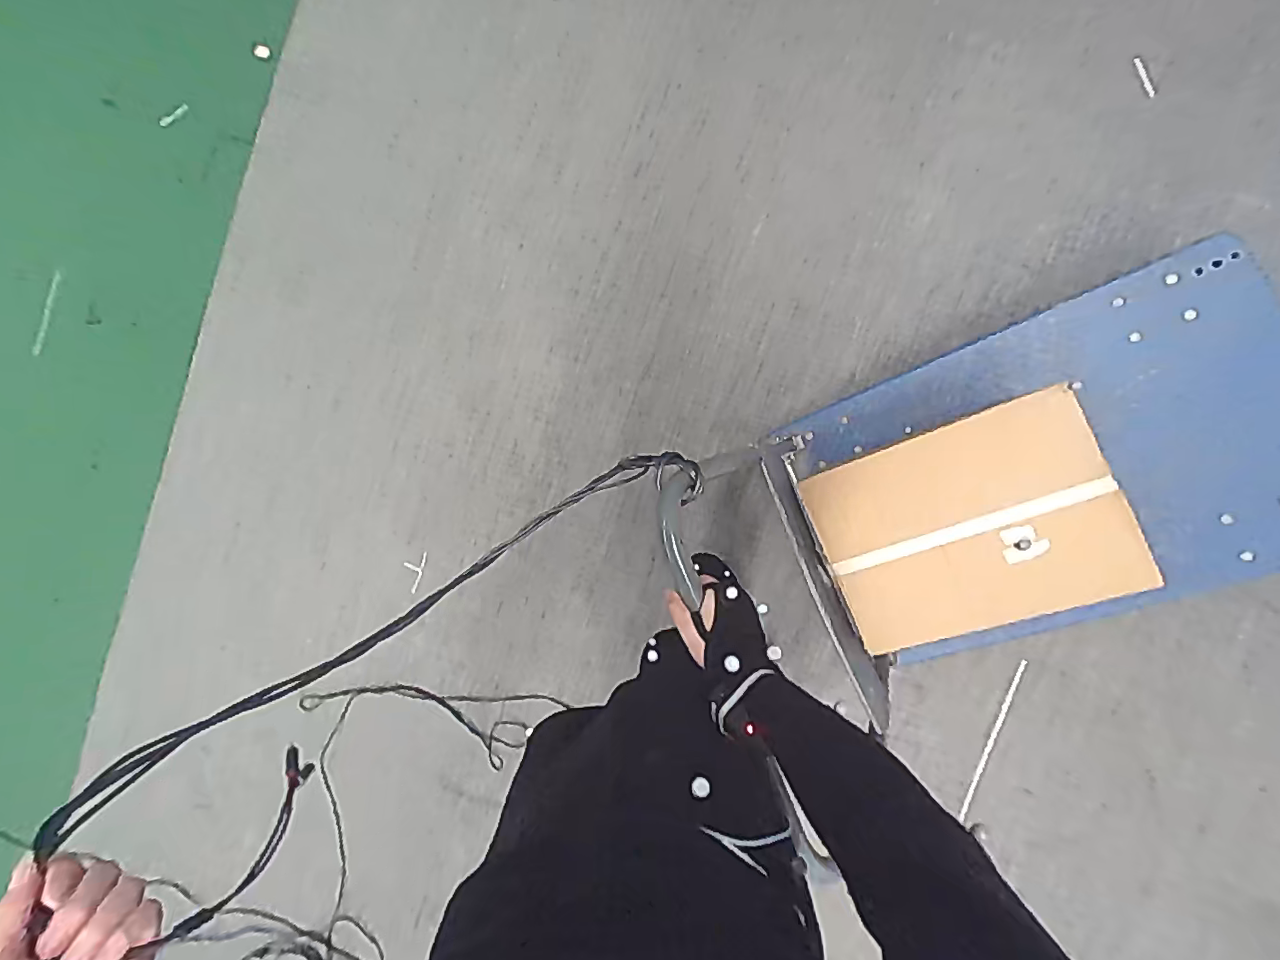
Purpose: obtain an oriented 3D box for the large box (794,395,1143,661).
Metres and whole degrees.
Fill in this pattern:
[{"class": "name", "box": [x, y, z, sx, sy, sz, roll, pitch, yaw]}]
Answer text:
[{"class": "large box", "box": [0.538, 0.082, 0.979, 0.408, 0.320, 0.320, -22, 86, 21]}]
